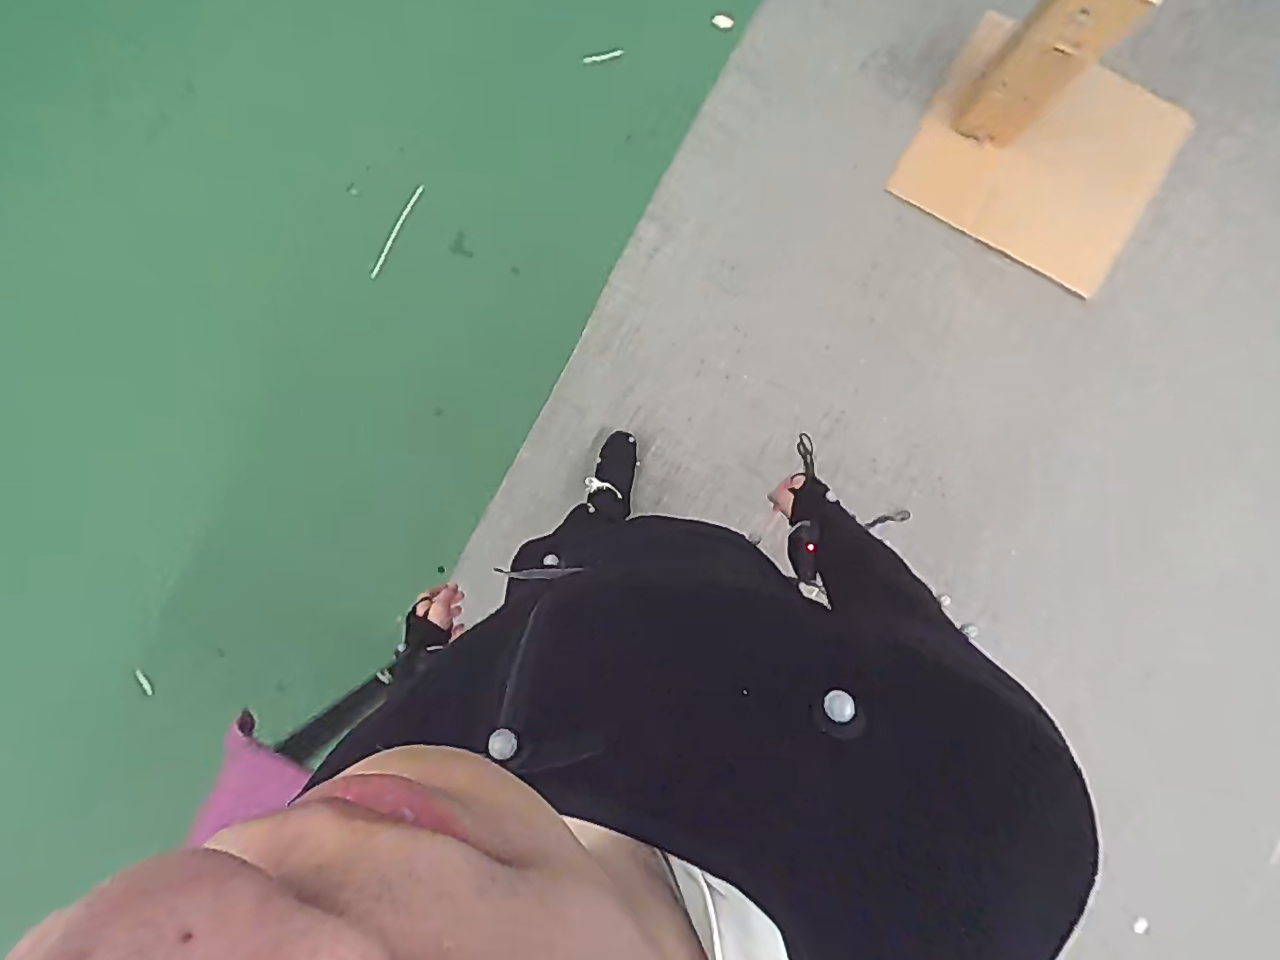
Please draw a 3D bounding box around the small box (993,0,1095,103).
[{"bbox_3d":[1.016,-1.085,1.331,0.168,0.176,0.179,25,90,2],"label":"small box"}]

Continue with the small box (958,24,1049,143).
[{"bbox_3d":[1.022,-1.085,1.494,0.168,0.176,0.179,22,91,2],"label":"small box"}]

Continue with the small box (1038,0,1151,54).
[{"bbox_3d":[1.014,-1.084,1.169,0.168,0.176,0.179,26,90,2],"label":"small box"}]
